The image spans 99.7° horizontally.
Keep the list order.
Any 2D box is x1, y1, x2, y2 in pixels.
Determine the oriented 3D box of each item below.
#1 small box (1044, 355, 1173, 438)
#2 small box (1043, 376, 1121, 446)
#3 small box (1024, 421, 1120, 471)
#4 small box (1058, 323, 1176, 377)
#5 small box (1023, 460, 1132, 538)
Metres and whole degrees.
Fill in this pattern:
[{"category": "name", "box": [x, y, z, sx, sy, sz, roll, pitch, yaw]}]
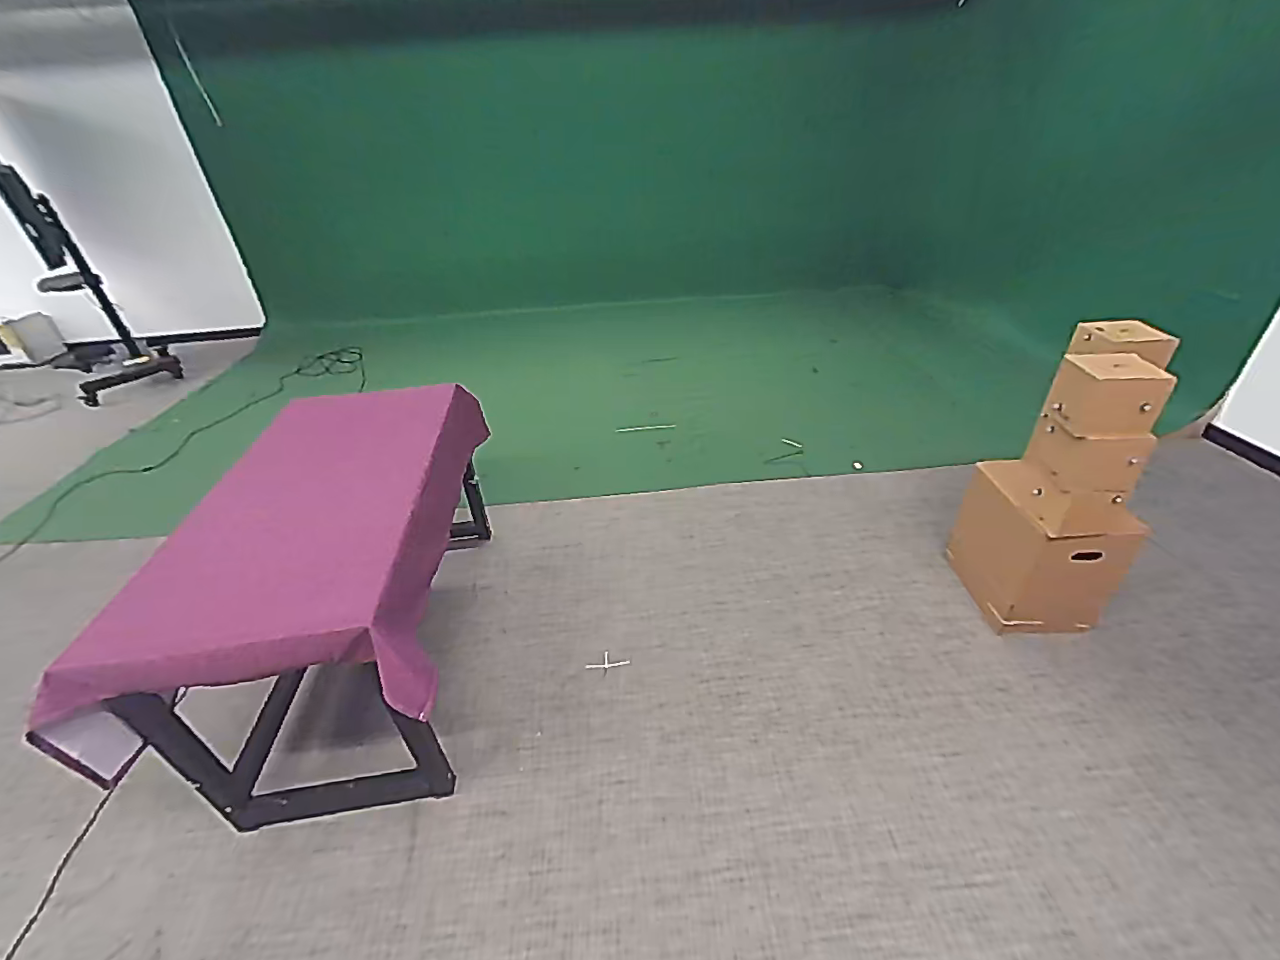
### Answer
[{"category": "small box", "box": [1.225, -0.220, 1.430, 0.179, 0.176, 0.168, 0, 34, 7]}, {"category": "small box", "box": [1.413, -0.219, 1.704, 0.179, 0.176, 0.168, 3, 35, 8]}, {"category": "small box", "box": [1.419, -0.081, 1.793, 0.168, 0.176, 0.179, 0, 35, 7]}, {"category": "small box", "box": [1.411, -0.359, 1.615, 0.179, 0.176, 0.168, -1, 34, 2]}, {"category": "small box", "box": [1.278, 0.057, 1.601, 0.179, 0.176, 0.168, -4, 34, 0]}]
